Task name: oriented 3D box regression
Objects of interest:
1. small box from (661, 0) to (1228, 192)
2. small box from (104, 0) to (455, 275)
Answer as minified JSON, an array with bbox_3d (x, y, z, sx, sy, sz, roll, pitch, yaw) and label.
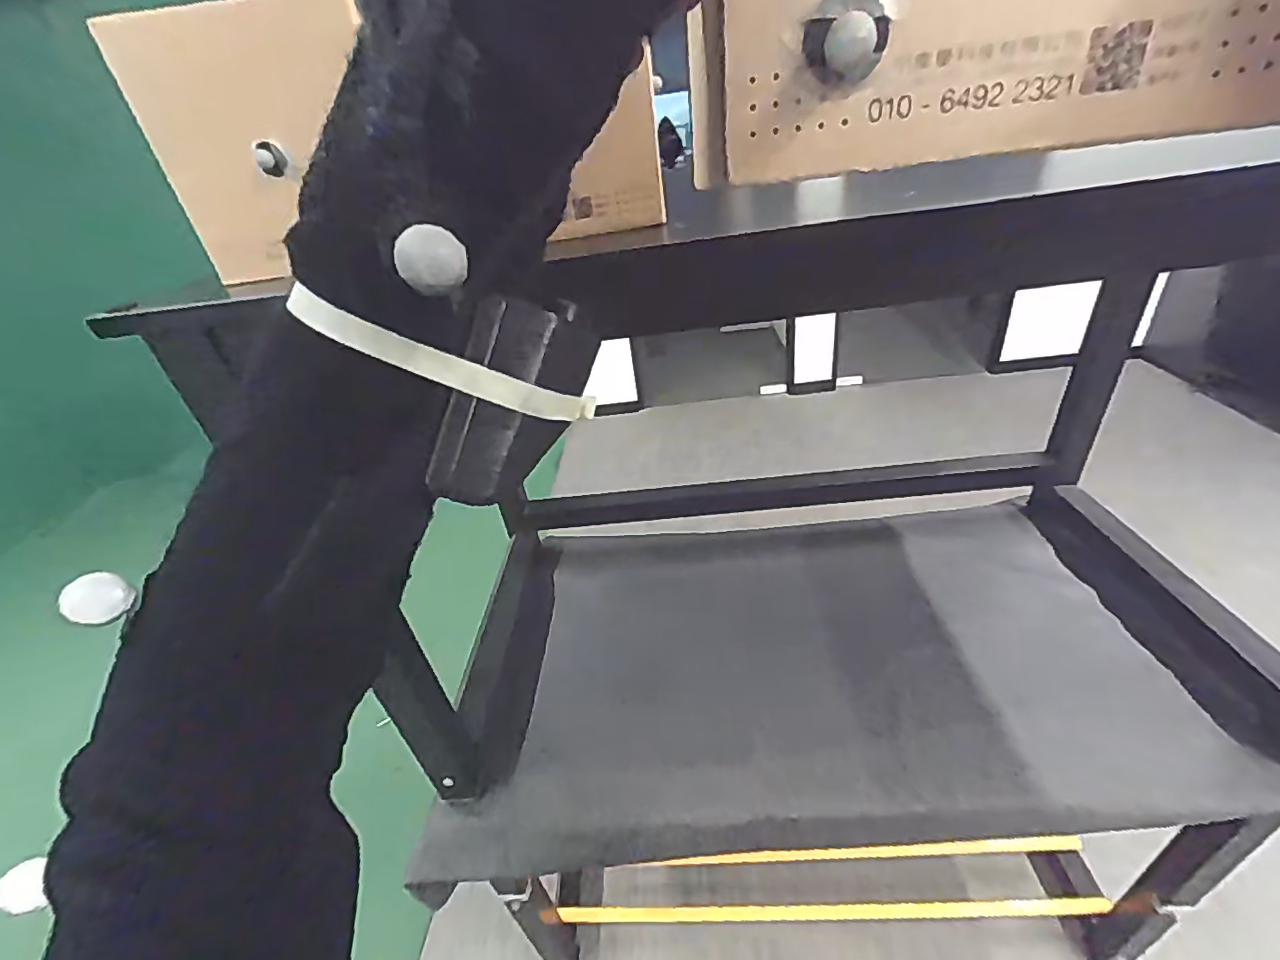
[{"bbox_3d":[0.088,-0.216,0.206,0.168,0.176,0.179,-4,26,5],"label":"small box"},{"bbox_3d":[-0.278,-0.286,0.475,0.168,0.176,0.179,-8,32,-1],"label":"small box"}]
